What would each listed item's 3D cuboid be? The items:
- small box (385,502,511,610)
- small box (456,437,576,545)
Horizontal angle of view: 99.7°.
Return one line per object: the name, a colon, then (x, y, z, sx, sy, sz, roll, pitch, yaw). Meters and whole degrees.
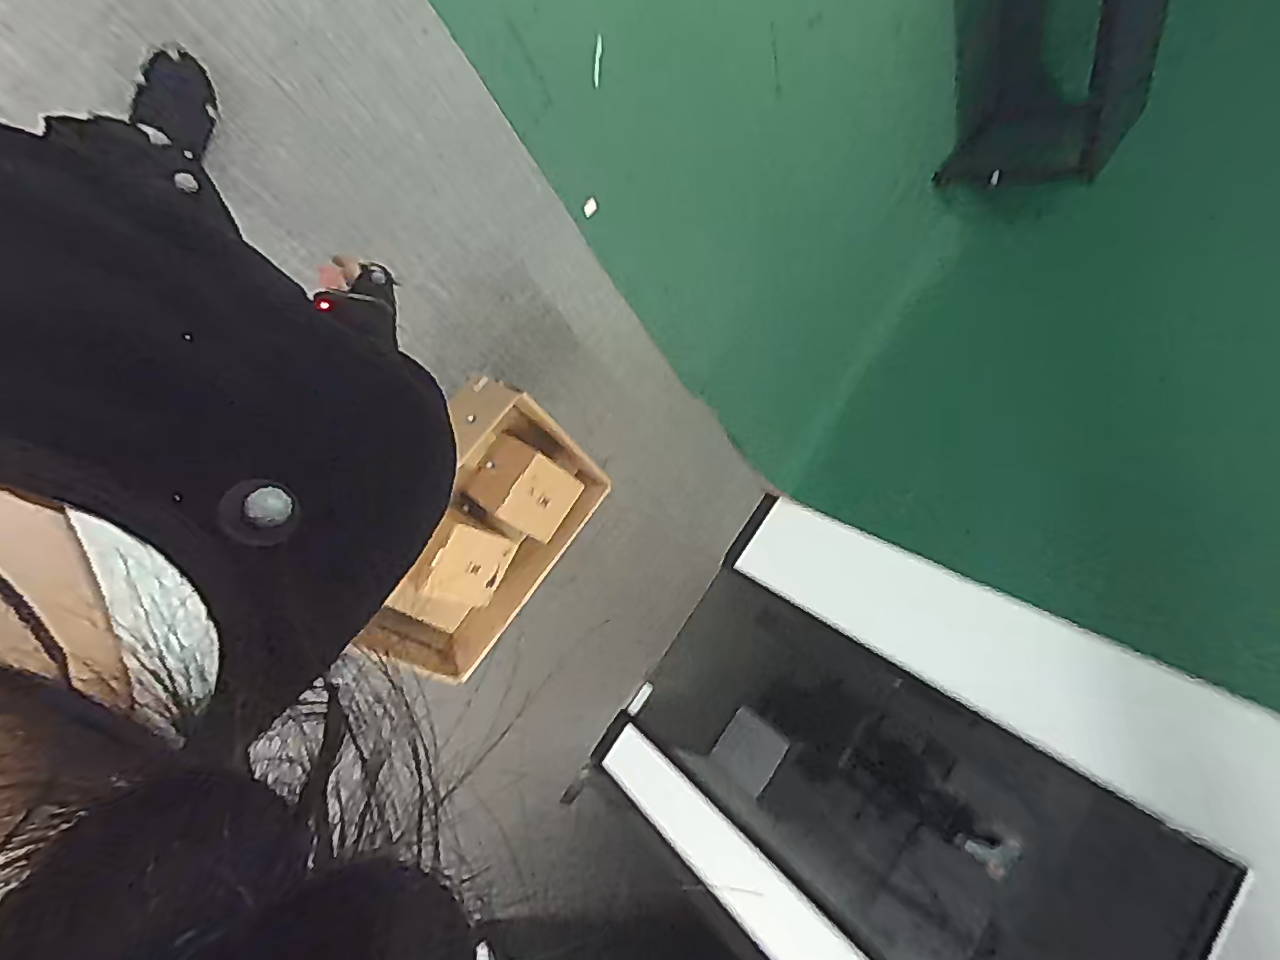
small box: (-0.430, 0.164, 1.201, 0.179, 0.176, 0.168, 31, 87, -48)
small box: (-0.290, 0.022, 1.268, 0.168, 0.176, 0.179, -57, 139, -8)
